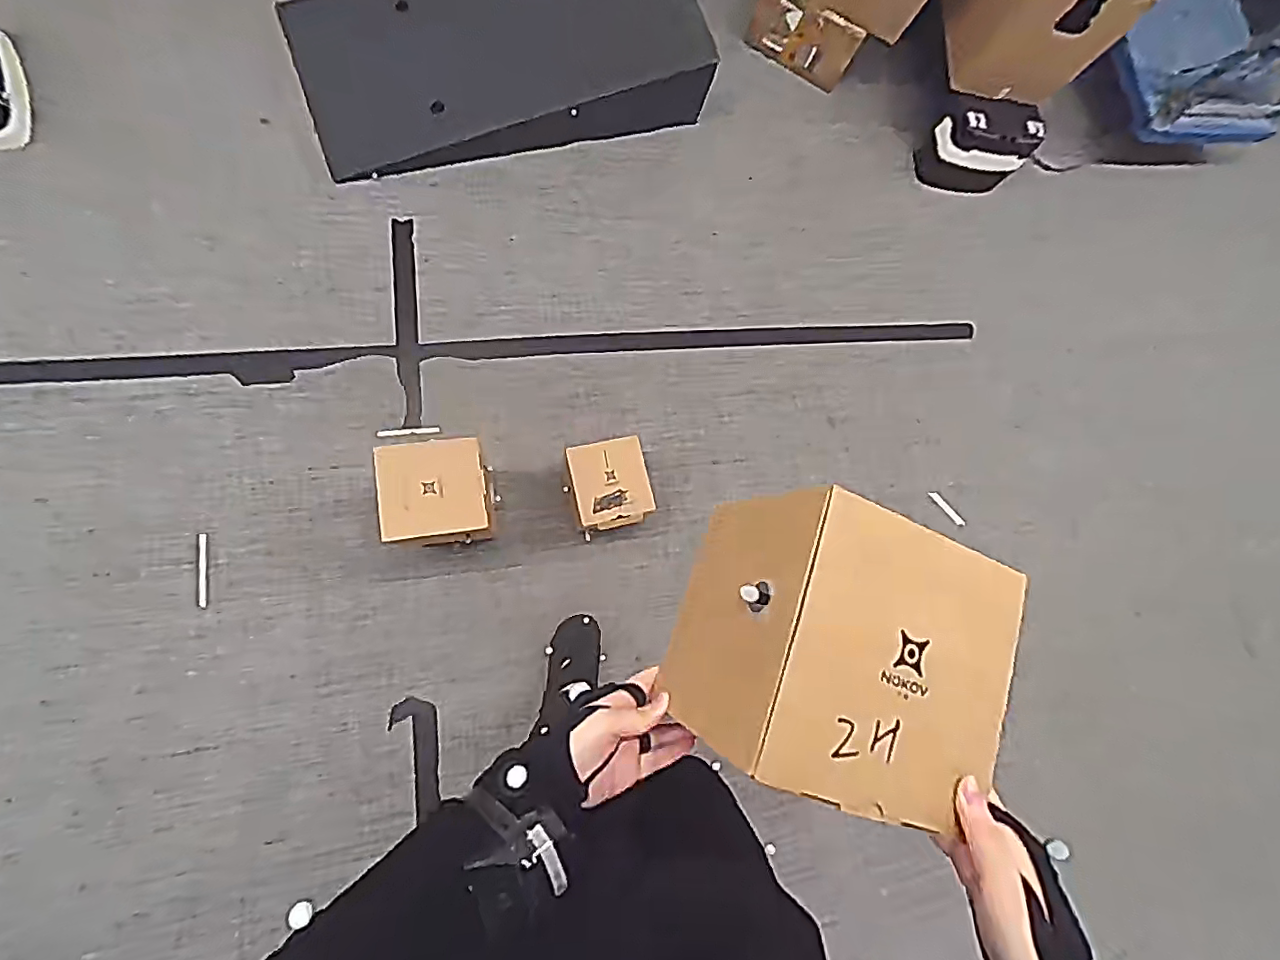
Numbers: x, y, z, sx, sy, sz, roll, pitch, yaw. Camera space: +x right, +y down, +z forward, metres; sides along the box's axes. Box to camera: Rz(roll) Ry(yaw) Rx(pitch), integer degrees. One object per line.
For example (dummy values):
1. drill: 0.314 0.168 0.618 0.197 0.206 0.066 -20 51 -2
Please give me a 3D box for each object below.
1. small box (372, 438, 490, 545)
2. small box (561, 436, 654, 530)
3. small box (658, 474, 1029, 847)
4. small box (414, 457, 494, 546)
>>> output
1. small box: -0.372 0.026 0.990 0.179 0.176 0.168 -7 82 -12
2. small box: -0.080 0.013 1.226 0.168 0.176 0.179 -12 83 -14
3. small box: 0.131 0.115 0.392 0.168 0.176 0.179 24 76 -14
4. small box: -0.405 0.049 1.149 0.179 0.176 0.168 -5 82 -14
